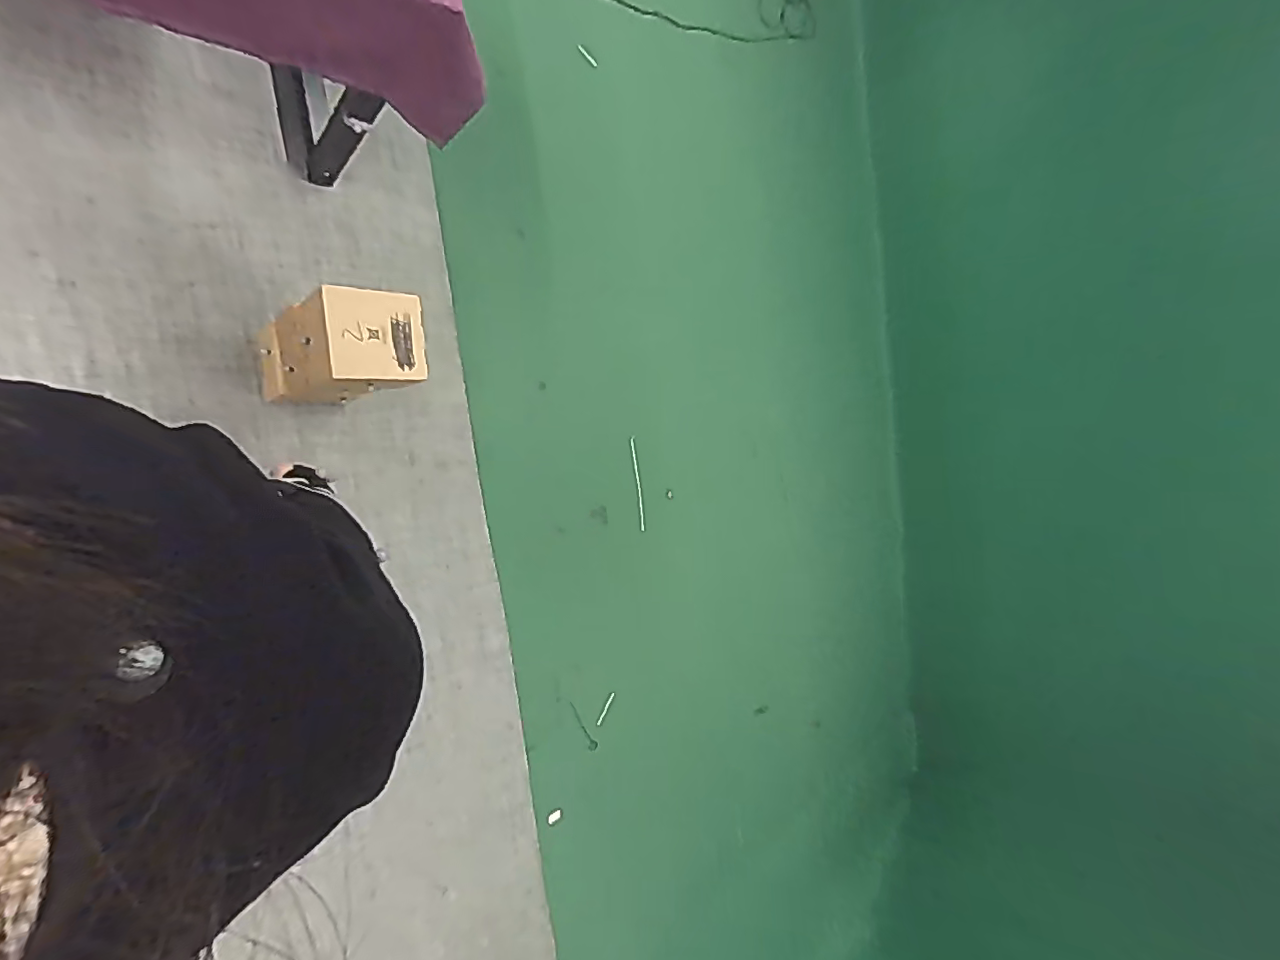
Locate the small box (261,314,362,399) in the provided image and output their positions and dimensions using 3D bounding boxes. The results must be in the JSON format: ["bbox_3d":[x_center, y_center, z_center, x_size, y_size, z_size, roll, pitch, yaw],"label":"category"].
[{"bbox_3d":[-0.787,-0.285,1.290,0.179,0.176,0.168,-8,95,-44],"label":"small box"}]

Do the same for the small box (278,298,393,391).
[{"bbox_3d":[-0.668,-0.286,1.179,0.179,0.176,0.168,-11,98,-44],"label":"small box"}]
